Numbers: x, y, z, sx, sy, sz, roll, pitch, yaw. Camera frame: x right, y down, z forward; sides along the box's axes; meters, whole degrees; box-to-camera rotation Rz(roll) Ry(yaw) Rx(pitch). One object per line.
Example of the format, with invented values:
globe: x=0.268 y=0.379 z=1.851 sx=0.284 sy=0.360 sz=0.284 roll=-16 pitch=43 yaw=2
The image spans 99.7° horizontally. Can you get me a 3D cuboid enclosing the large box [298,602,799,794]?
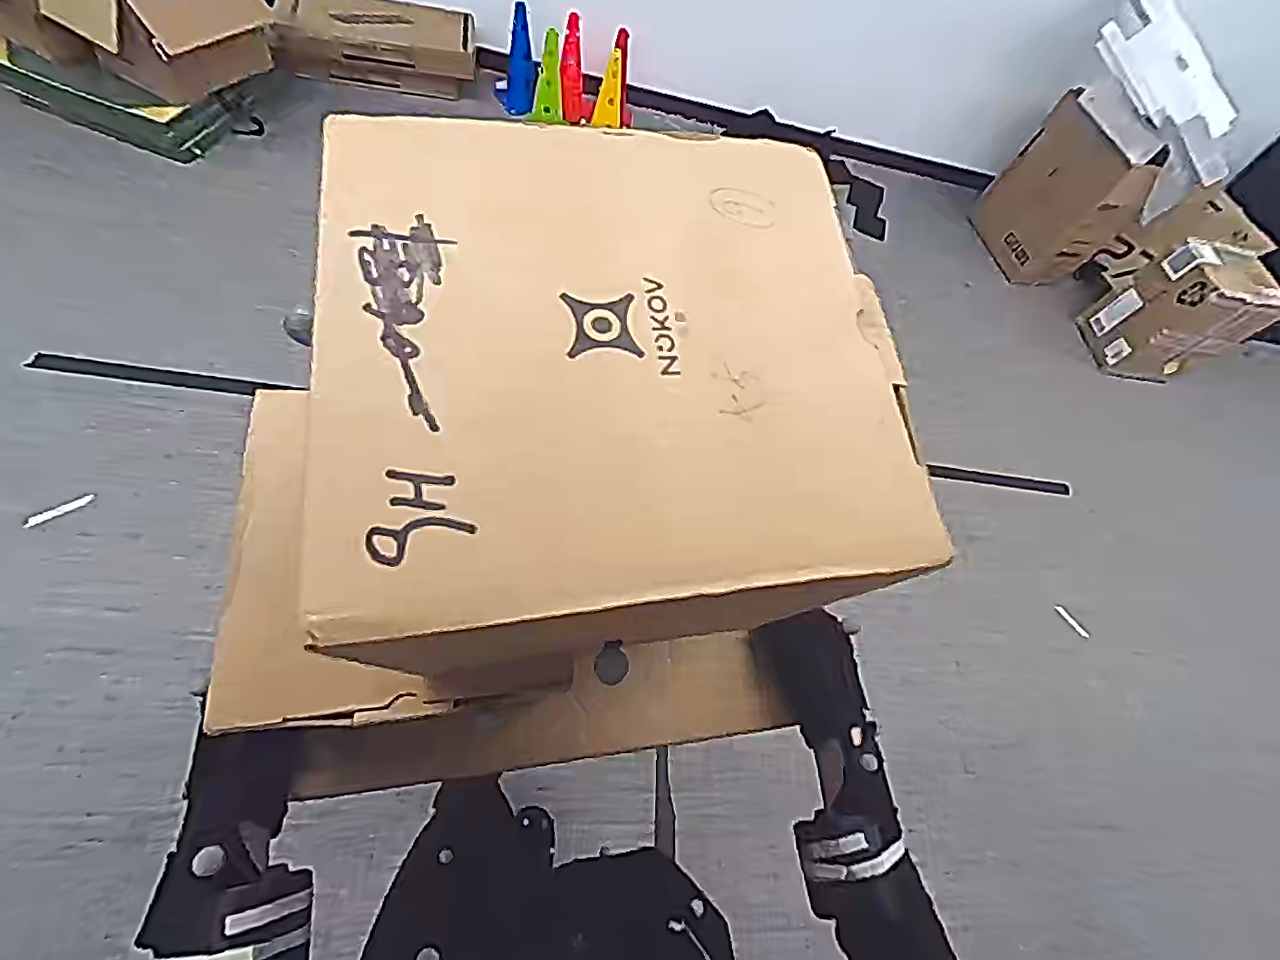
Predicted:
large box: x=-0.104 y=0.122 z=0.609 sx=0.408 sy=0.320 sz=0.320 roll=-2 pitch=70 yaw=-15

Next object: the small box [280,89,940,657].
small box: x=-0.022 y=-0.022 z=0.236 sx=0.179 sy=0.176 sz=0.168 roll=-4 pitch=69 yaw=-14

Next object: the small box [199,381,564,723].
small box: x=-0.145 y=0.054 z=0.358 sx=0.168 sy=0.176 sz=0.179 roll=-2 pitch=67 yaw=-16
